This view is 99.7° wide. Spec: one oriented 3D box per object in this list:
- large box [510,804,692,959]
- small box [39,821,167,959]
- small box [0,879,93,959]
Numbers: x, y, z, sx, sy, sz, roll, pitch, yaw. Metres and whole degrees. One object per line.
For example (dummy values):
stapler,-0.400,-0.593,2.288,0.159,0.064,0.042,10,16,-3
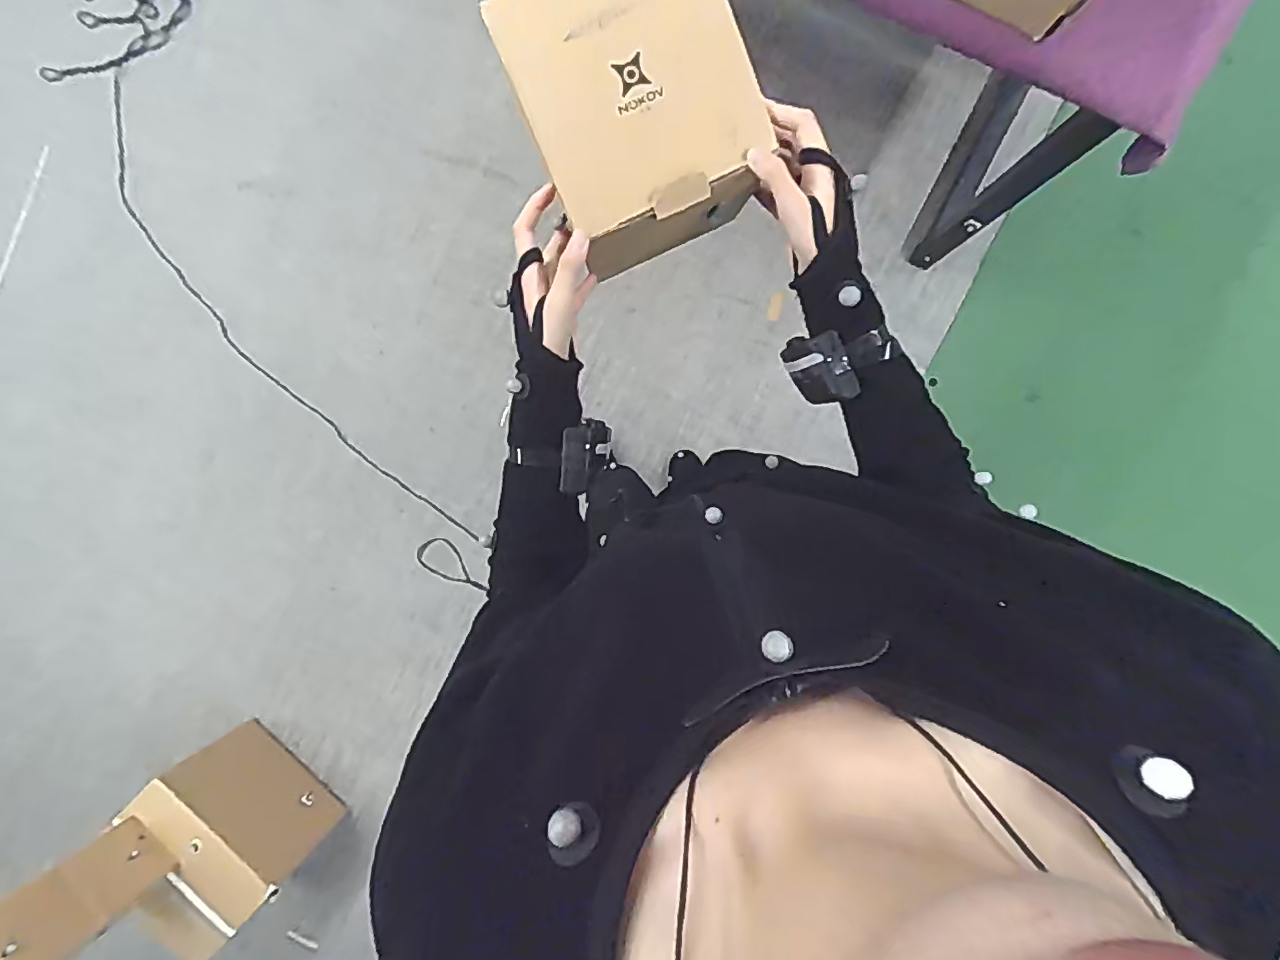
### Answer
large box,-0.101,1.119,1.413,0.408,0.320,0.320,12,94,1
small box,-1.236,0.927,1.213,0.179,0.176,0.168,-45,90,5
small box,-1.252,0.929,1.052,0.168,0.176,0.179,-43,90,5
